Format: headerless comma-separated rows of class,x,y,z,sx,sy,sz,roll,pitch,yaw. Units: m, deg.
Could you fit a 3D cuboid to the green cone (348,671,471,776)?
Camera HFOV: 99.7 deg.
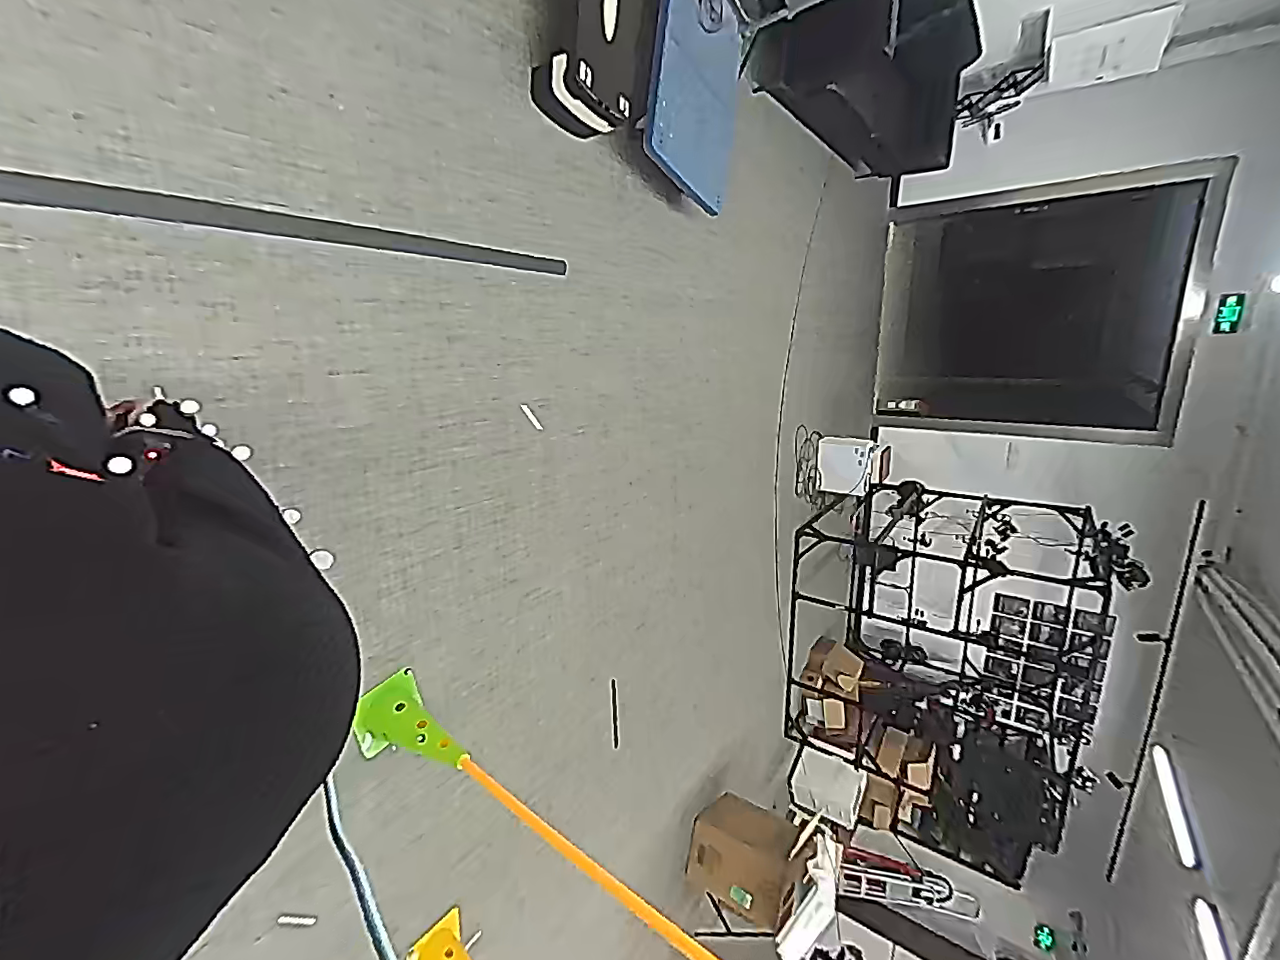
green cone,-0.599,0.713,1.486,0.200,0.368,0.202,-33,125,-47
